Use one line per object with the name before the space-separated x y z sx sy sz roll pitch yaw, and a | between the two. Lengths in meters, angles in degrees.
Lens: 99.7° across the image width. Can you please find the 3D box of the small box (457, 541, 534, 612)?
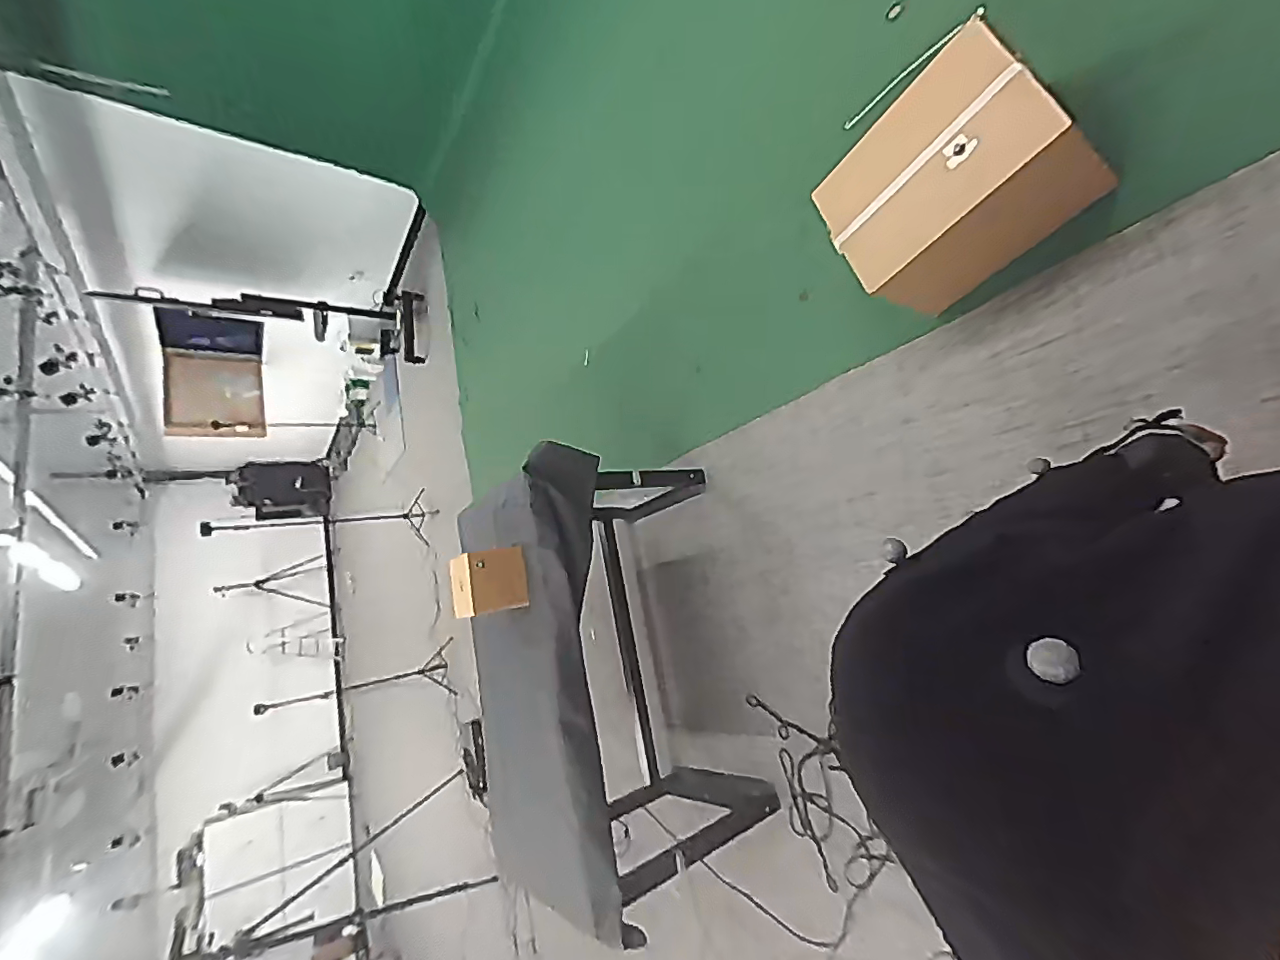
small box | -0.422 0.283 1.590 0.168 0.176 0.179 -24 73 52
